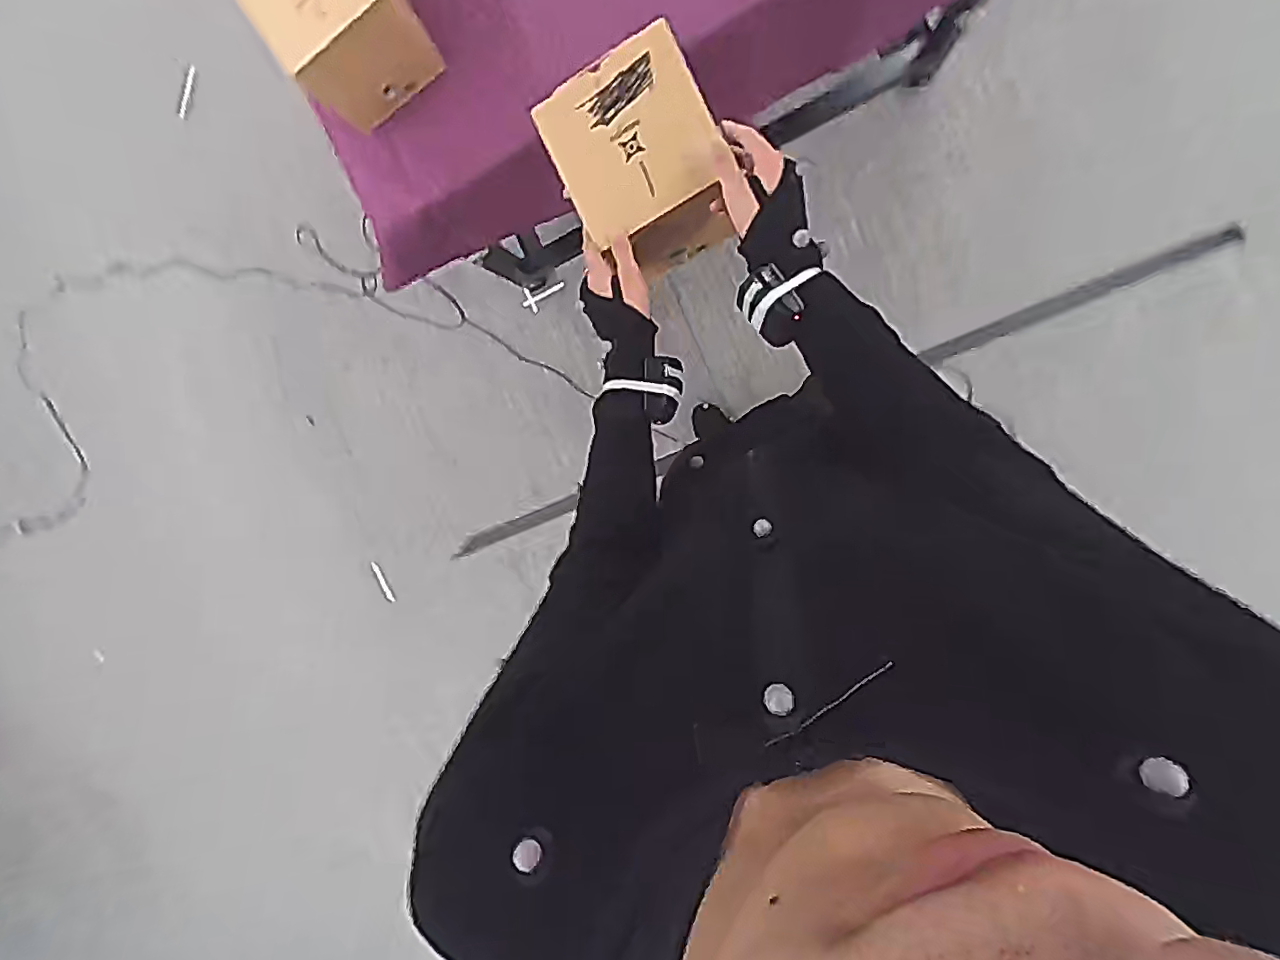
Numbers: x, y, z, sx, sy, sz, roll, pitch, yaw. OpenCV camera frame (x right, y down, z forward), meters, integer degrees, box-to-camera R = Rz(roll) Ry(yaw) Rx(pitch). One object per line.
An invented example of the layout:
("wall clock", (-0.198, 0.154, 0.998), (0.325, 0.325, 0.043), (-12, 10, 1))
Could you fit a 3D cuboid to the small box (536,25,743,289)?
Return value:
("small box", (0.011, -0.357, 0.639), (0.168, 0.176, 0.179), (-25, 89, 16))
